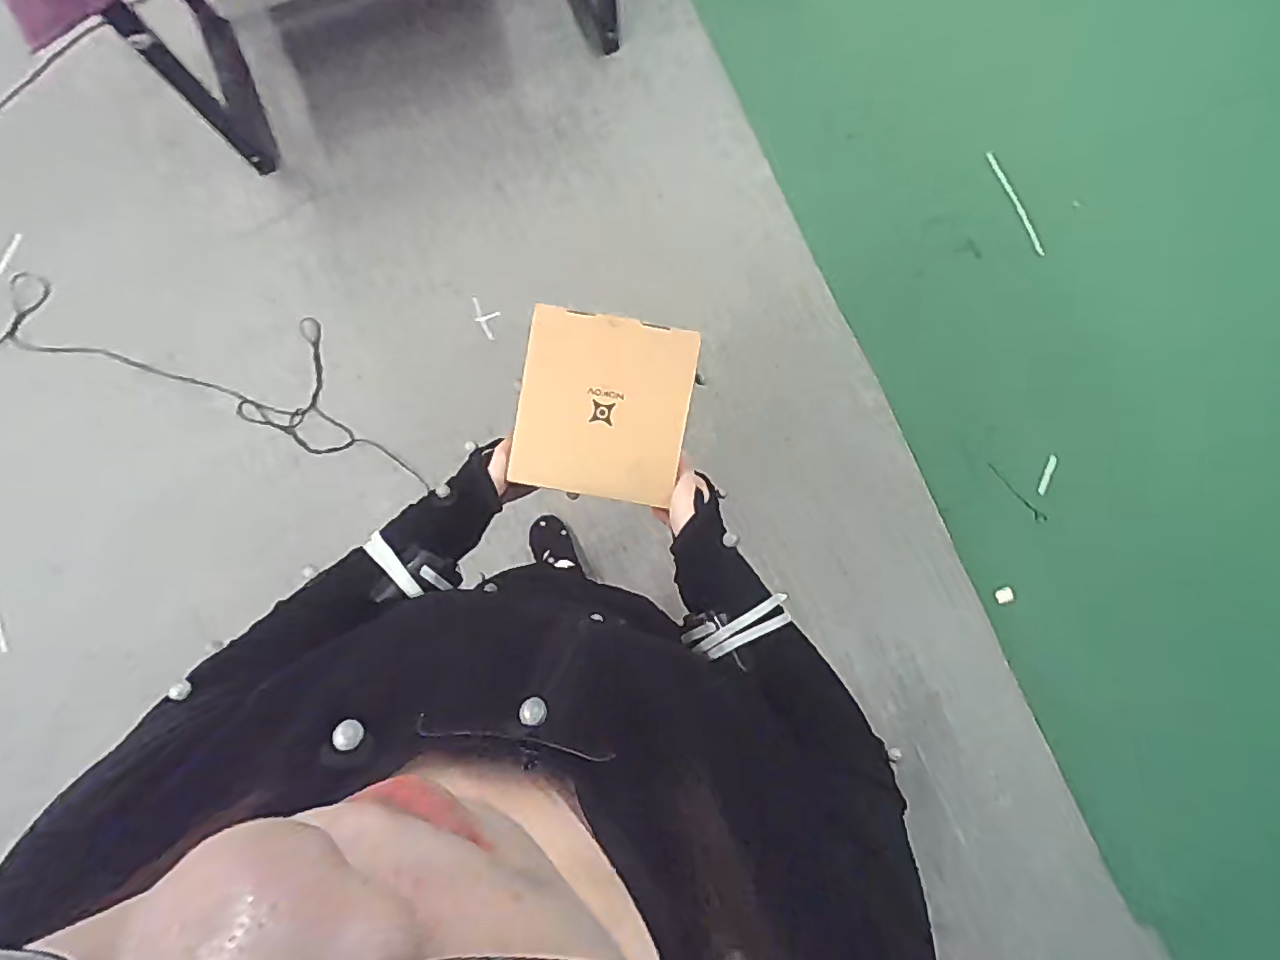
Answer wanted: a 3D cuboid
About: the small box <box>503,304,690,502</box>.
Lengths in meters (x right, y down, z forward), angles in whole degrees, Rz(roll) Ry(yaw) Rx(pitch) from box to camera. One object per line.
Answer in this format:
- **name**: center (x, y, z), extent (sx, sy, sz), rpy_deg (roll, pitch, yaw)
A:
- **small box**: center (-0.044, -0.082, 0.619), extent (0.168, 0.176, 0.179), rpy_deg (10, 94, -1)
